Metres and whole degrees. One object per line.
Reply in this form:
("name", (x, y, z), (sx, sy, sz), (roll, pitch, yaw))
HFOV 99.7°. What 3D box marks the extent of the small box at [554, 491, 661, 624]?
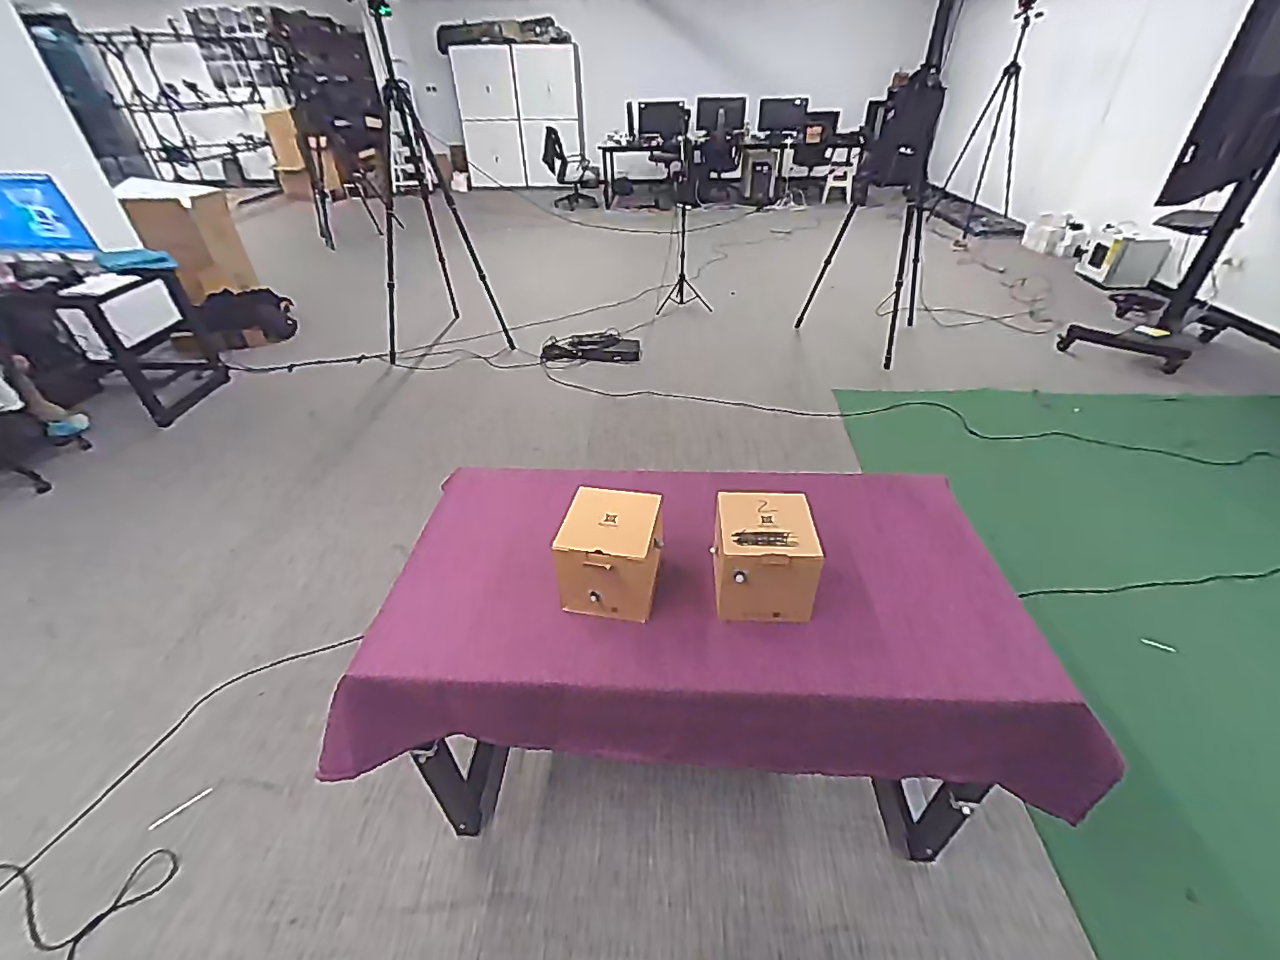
("small box", (-0.056, 0.146, 1.040), (0.168, 0.176, 0.179), (6, 38, 9))
